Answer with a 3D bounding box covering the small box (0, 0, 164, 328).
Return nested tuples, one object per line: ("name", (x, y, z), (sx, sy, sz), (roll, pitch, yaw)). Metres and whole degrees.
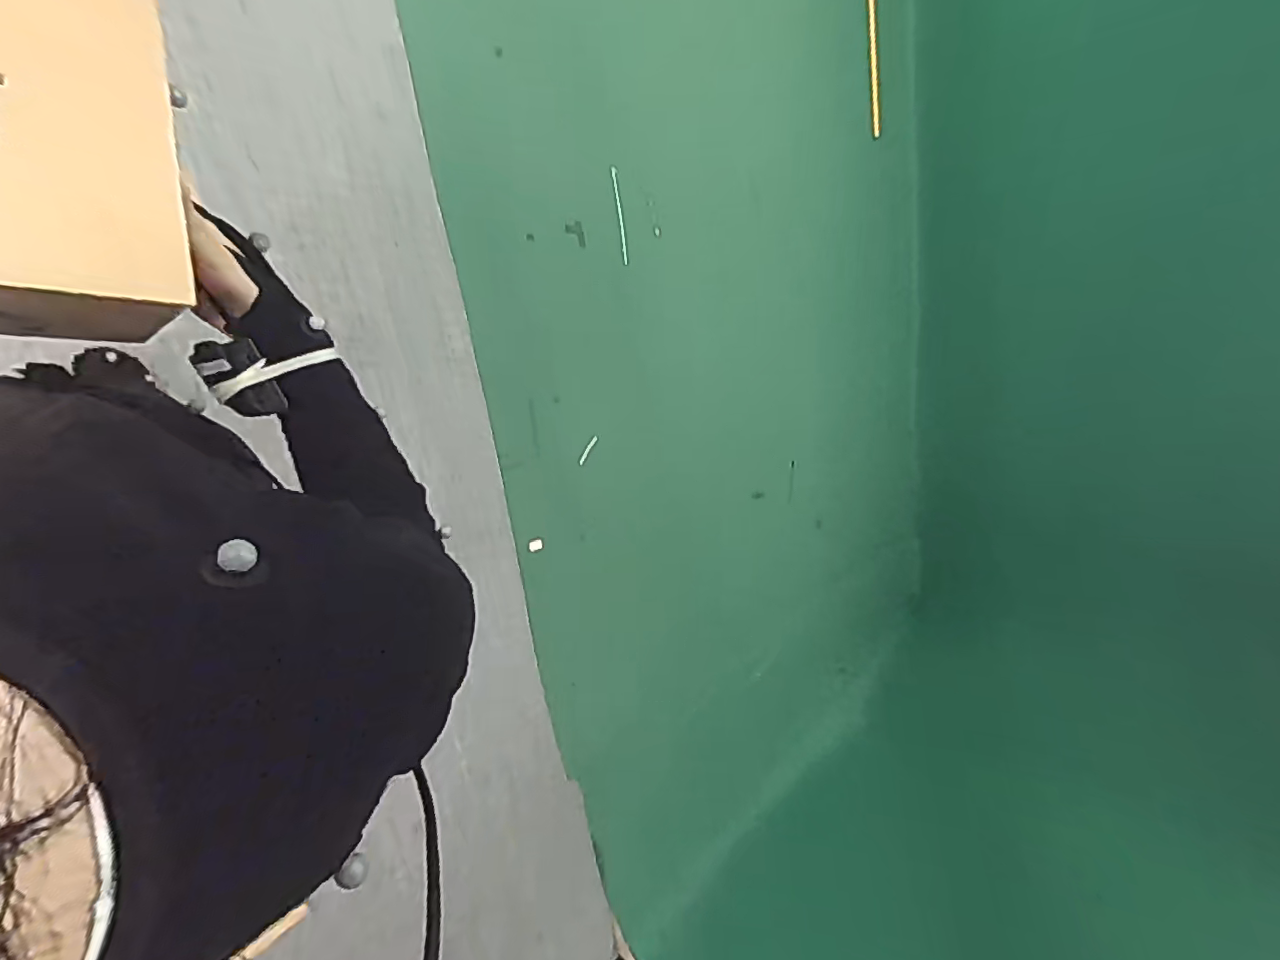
("small box", (-0.394, -0.188, 0.298), (0.168, 0.176, 0.179), (-11, 99, -50))
